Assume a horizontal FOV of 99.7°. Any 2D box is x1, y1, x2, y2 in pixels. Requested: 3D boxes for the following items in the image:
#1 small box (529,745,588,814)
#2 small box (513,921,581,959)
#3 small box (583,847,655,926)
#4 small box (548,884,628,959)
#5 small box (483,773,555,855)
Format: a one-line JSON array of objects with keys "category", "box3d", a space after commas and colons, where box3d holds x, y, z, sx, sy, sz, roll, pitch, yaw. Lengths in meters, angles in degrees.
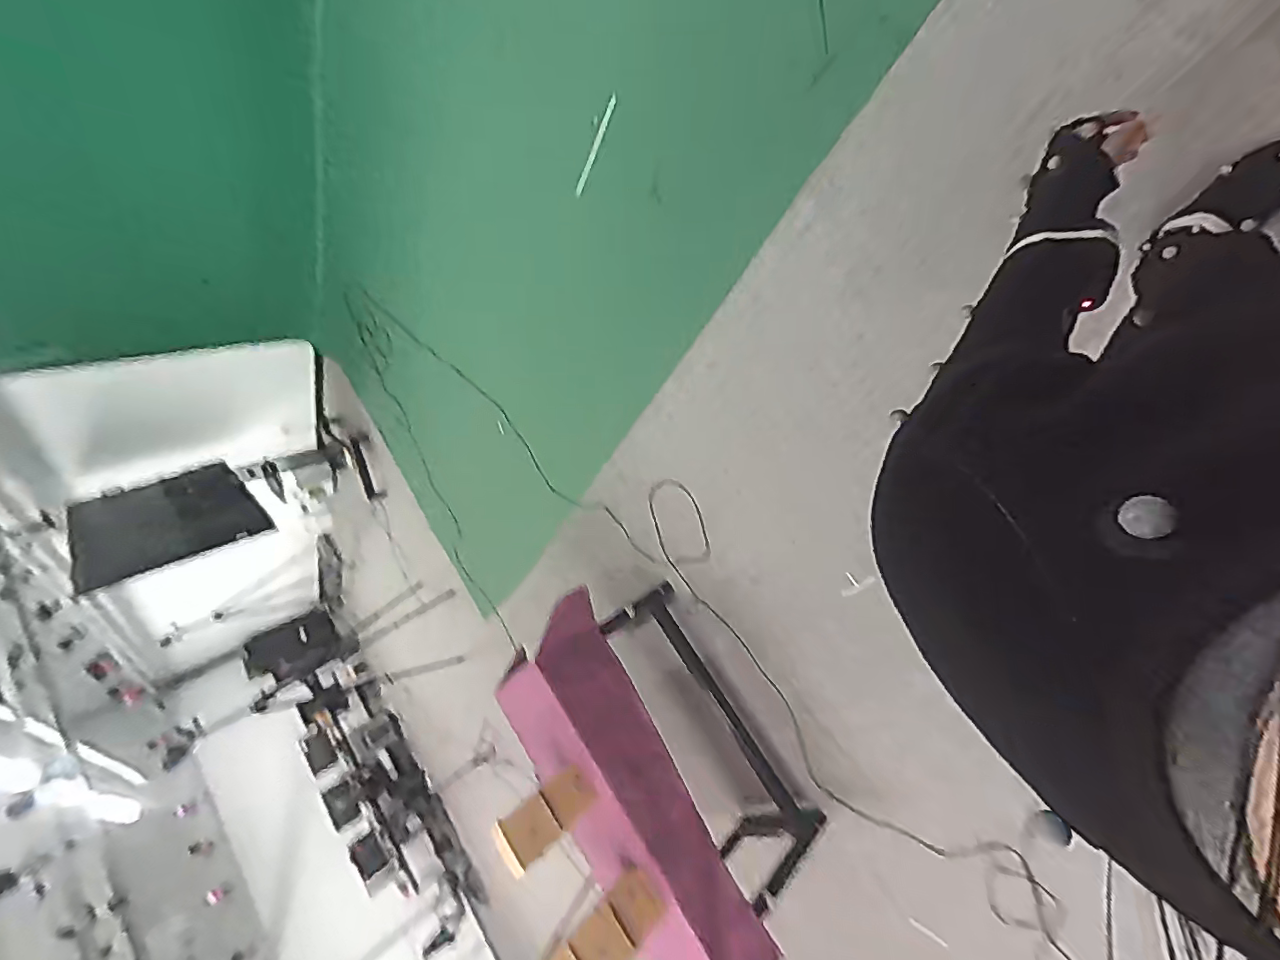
[{"category": "small box", "box3d": [-0.317, 1.138, 2.029, 0.168, 0.176, 0.179, 46, 137, 21]}, {"category": "small box", "box3d": [-0.287, 1.520, 1.684, 0.168, 0.176, 0.179, 48, 138, 20]}, {"category": "small box", "box3d": [-0.070, 1.440, 1.918, 0.168, 0.176, 0.179, 51, 139, 17]}, {"category": "small box", "box3d": [-0.173, 1.481, 1.794, 0.179, 0.176, 0.168, 51, 138, 17]}, {"category": "small box", "box3d": [-0.425, 1.178, 1.911, 0.179, 0.176, 0.168, 50, 138, 17]}]
